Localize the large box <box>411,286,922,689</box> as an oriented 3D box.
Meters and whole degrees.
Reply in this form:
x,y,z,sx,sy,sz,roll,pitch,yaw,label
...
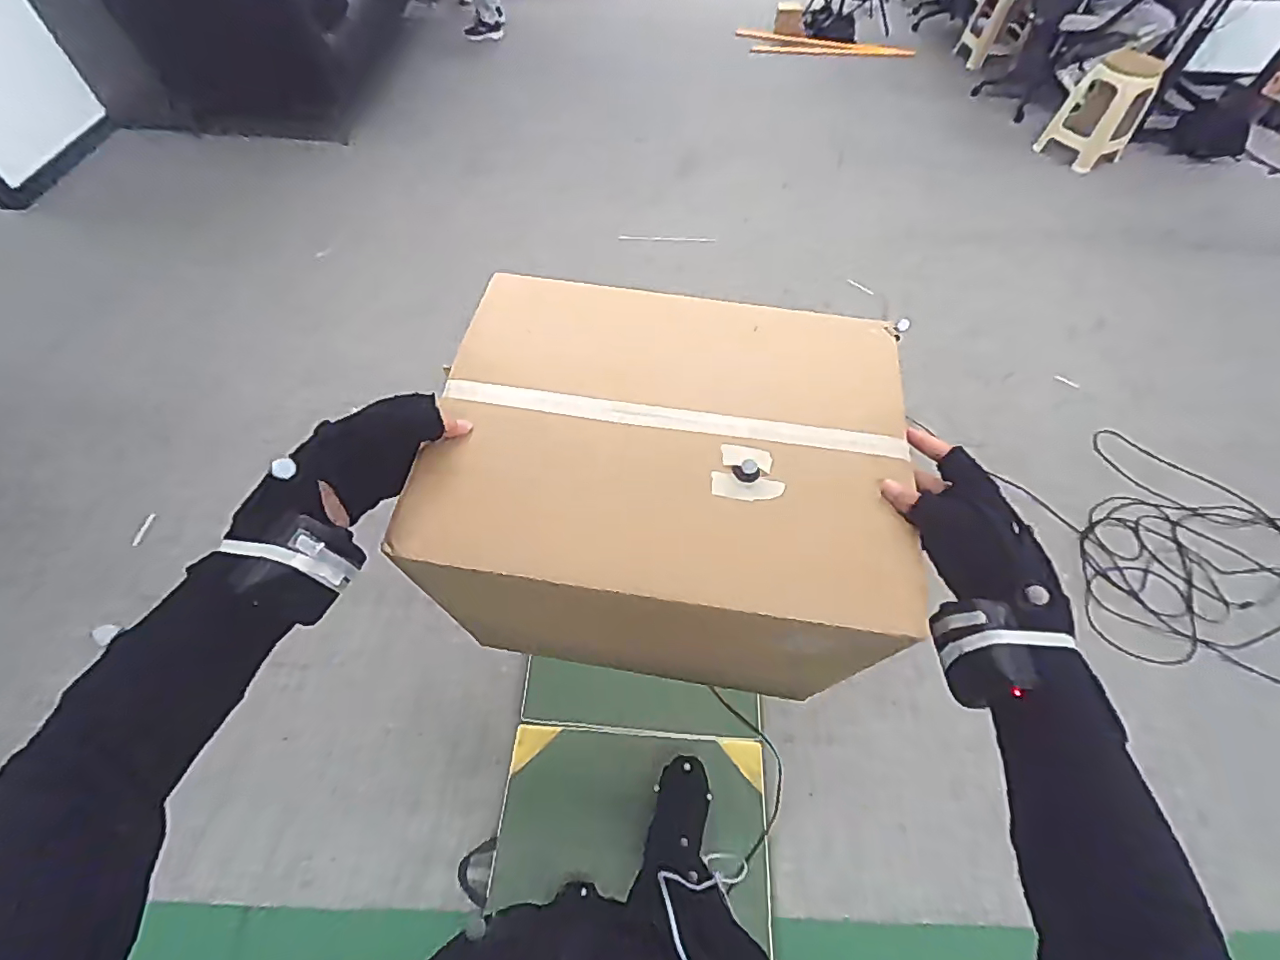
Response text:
x,y,z,sx,sy,sz,roll,pitch,yaw,label
0.029,0.026,0.612,0.408,0.320,0.320,9,61,2,large box
